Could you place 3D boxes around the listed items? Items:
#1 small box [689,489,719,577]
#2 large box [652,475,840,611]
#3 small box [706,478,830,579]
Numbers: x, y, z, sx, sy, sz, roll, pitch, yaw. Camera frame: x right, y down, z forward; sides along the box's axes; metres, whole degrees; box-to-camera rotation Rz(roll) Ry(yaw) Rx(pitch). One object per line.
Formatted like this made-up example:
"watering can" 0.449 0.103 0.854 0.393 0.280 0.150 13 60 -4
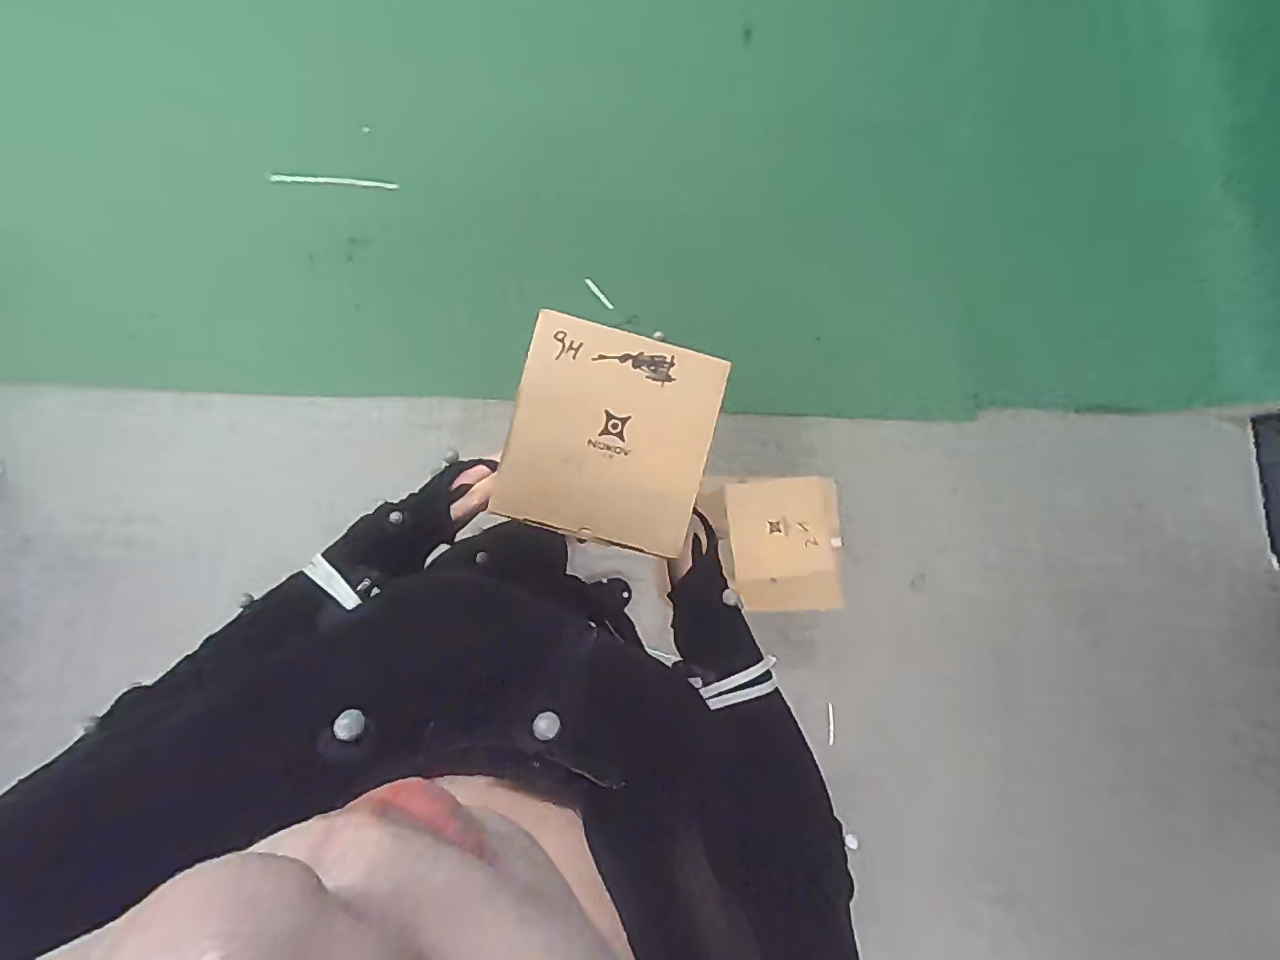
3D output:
"small box" 0.202 0.115 1.157 0.168 0.176 0.179 0 81 -6
"large box" 0.250 0.164 1.402 0.408 0.320 0.320 1 83 -6
"small box" 0.223 0.093 0.996 0.179 0.176 0.168 -4 83 -7
